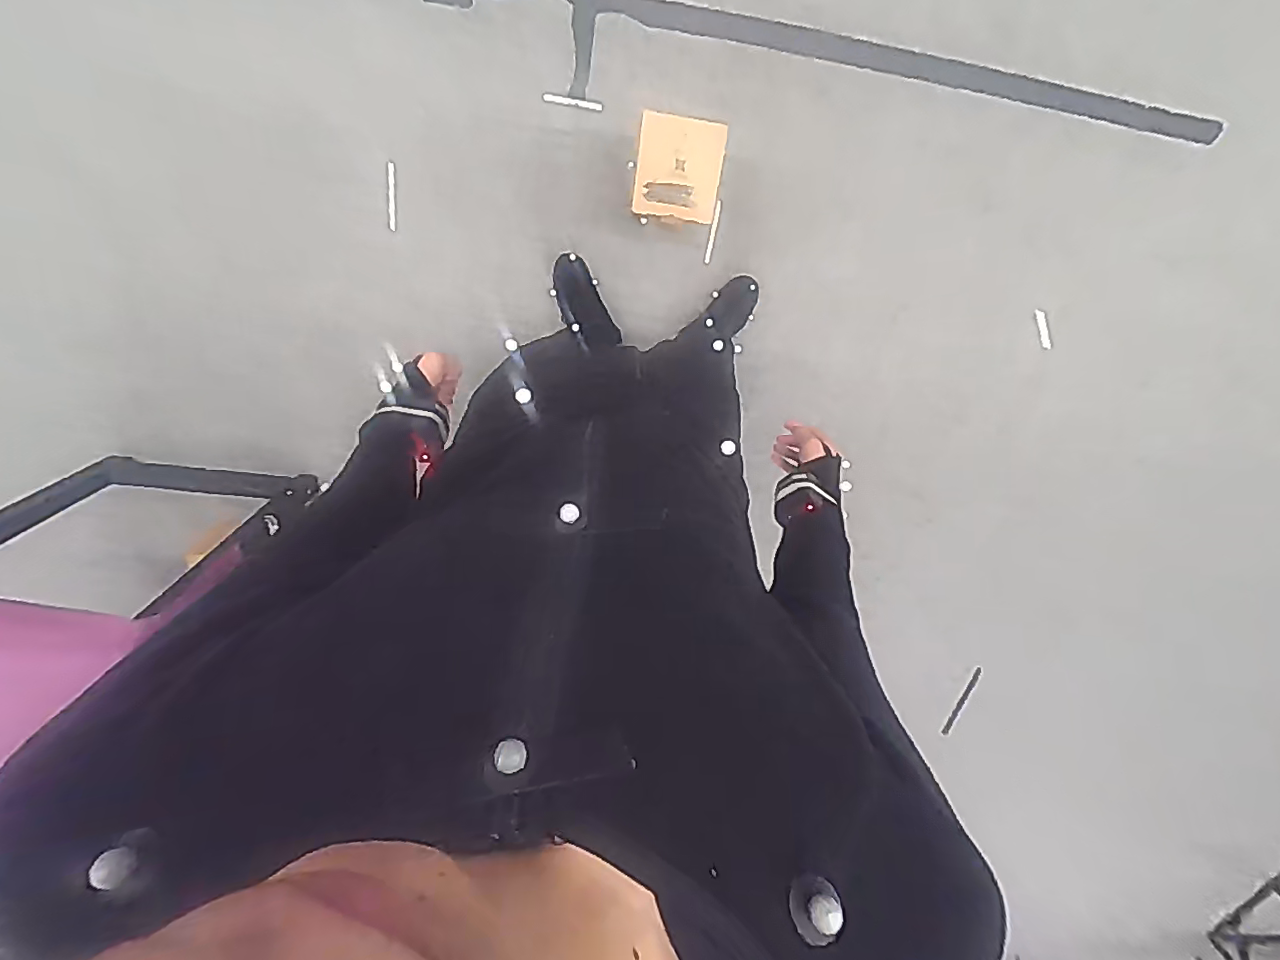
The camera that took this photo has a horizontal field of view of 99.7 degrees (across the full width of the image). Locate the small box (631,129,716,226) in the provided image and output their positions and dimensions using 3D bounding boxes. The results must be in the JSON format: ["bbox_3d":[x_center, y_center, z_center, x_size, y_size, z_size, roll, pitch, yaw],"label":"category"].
[{"bbox_3d":[0.070,-0.703,1.269,0.168,0.176,0.179,4,117,-5],"label":"small box"}]
